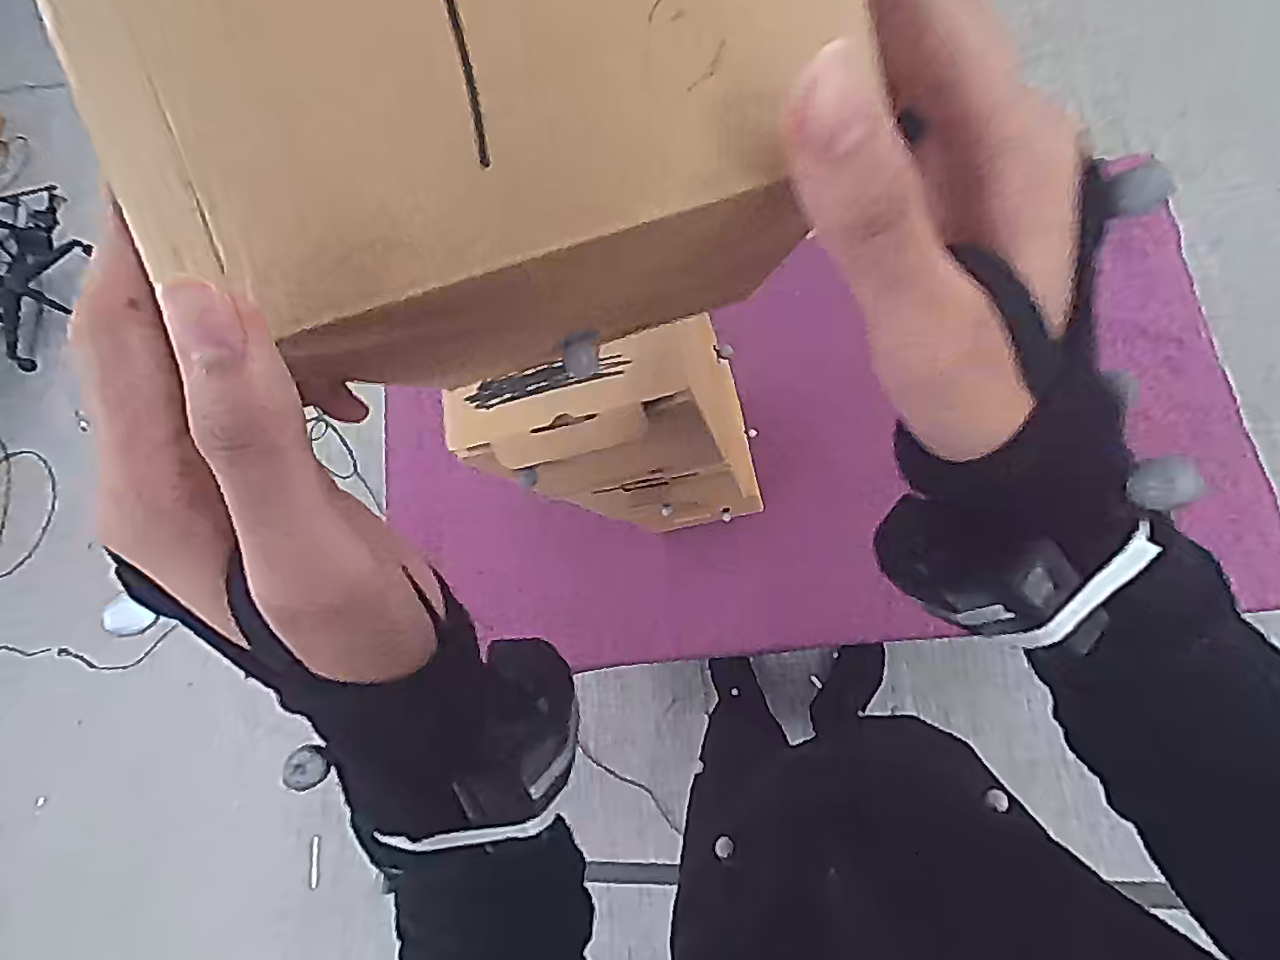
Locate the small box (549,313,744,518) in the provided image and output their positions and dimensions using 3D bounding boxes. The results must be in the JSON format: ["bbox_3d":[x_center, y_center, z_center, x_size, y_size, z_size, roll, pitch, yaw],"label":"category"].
[{"bbox_3d":[0.014,-0.065,0.582,0.168,0.176,0.179,-10,77,13],"label":"small box"}]

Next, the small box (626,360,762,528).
[{"bbox_3d":[0.067,-0.035,0.735,0.168,0.176,0.179,-12,76,12],"label":"small box"}]

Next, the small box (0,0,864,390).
[{"bbox_3d":[-0.053,-0.139,0.186,0.168,0.176,0.179,-17,97,3],"label":"small box"}]
